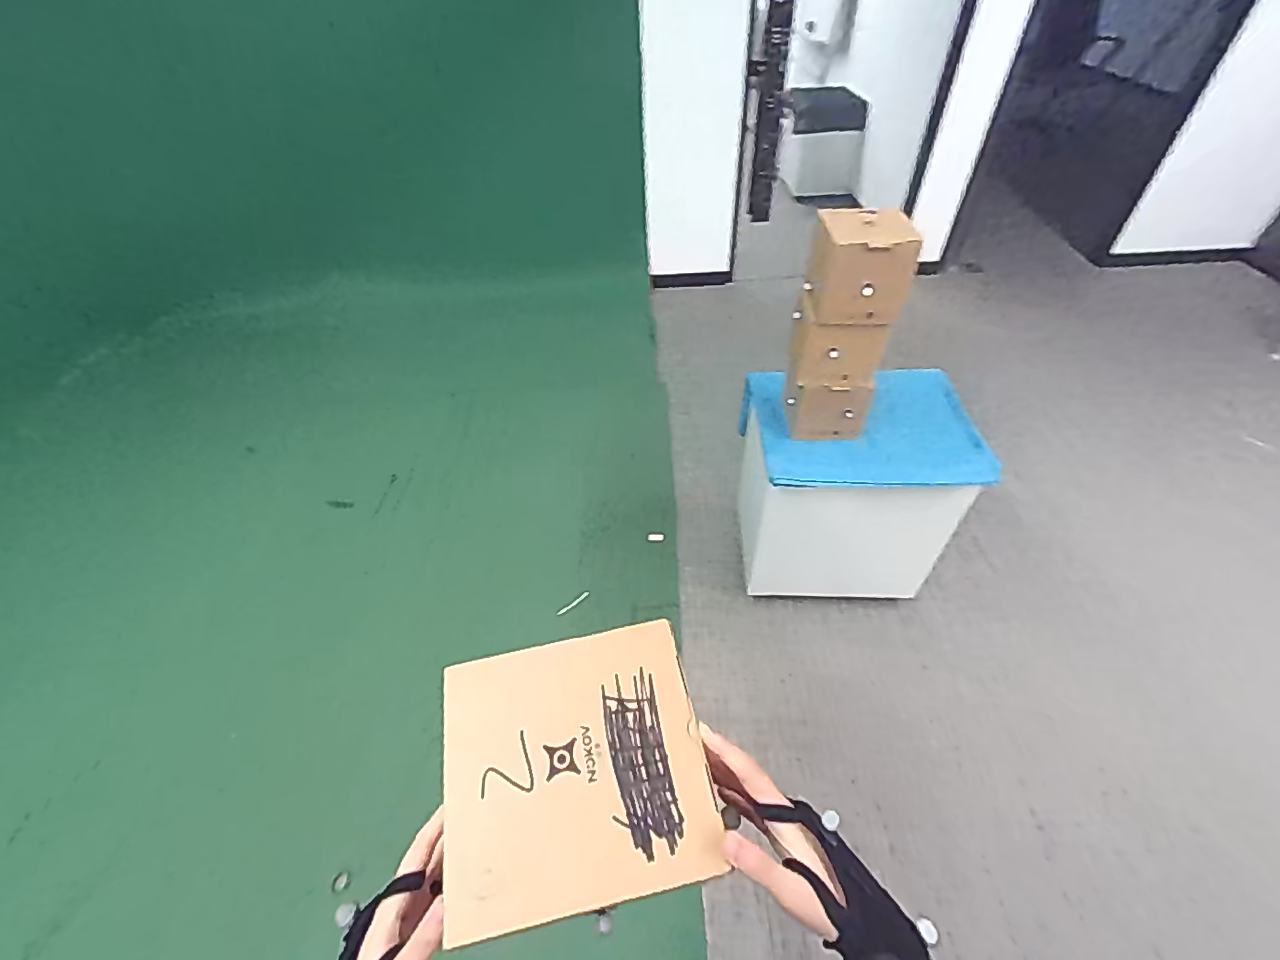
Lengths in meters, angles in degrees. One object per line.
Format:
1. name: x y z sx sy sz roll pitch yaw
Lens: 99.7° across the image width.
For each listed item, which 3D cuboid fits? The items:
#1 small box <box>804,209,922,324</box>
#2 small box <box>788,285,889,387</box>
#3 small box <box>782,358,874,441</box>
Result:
1. small box: 0.442 -0.432 1.100 0.168 0.176 0.179 2 46 3
2. small box: 0.440 -0.325 1.225 0.168 0.176 0.179 2 45 3
3. small box: 0.457 -0.212 1.341 0.168 0.176 0.179 1 45 2
